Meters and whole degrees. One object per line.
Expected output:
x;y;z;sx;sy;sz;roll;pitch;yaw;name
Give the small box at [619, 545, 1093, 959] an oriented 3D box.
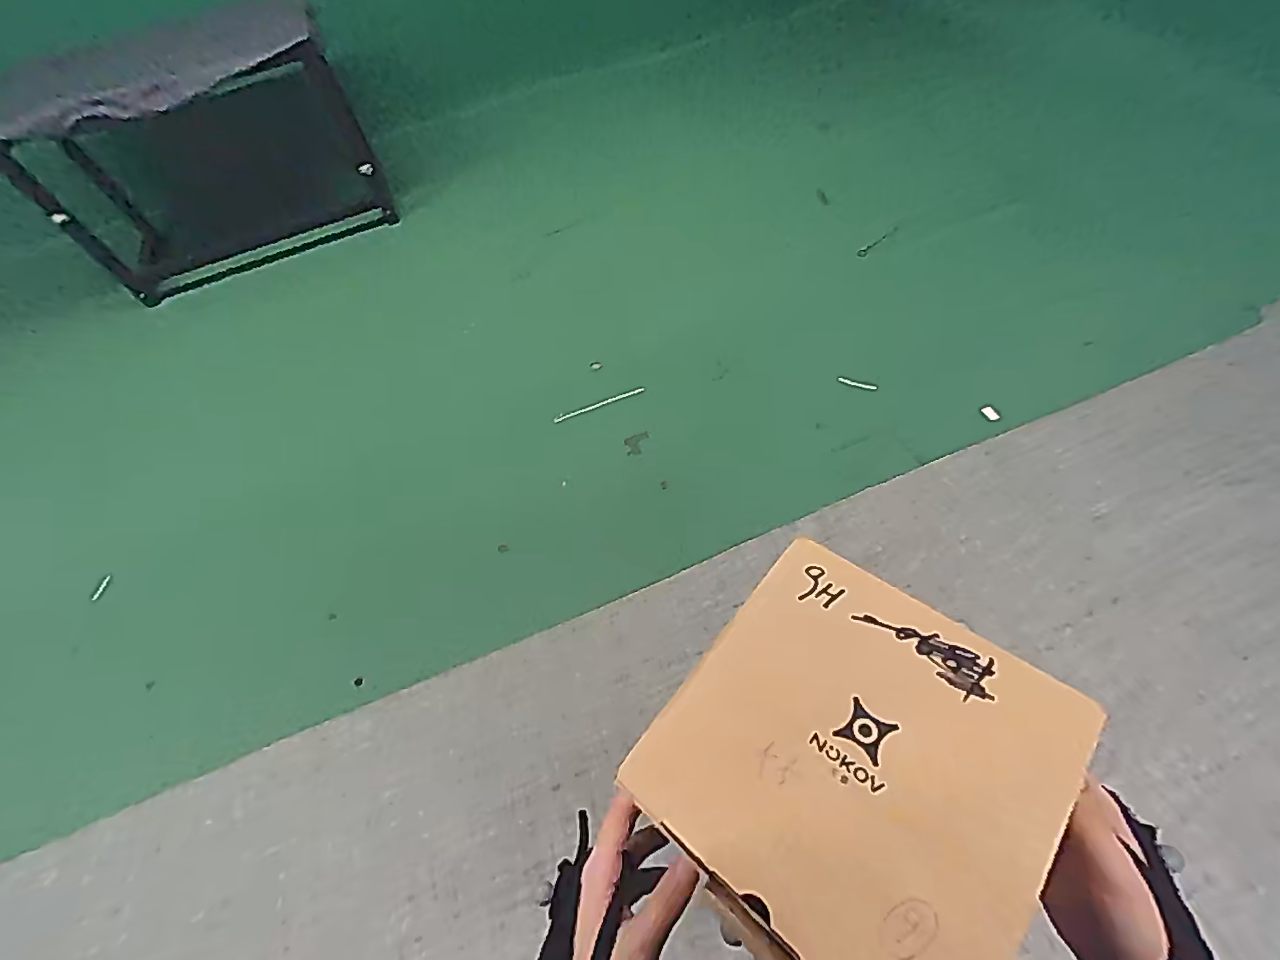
0.116;0.181;0.331;0.168;0.176;0.179;32;65;29;small box
